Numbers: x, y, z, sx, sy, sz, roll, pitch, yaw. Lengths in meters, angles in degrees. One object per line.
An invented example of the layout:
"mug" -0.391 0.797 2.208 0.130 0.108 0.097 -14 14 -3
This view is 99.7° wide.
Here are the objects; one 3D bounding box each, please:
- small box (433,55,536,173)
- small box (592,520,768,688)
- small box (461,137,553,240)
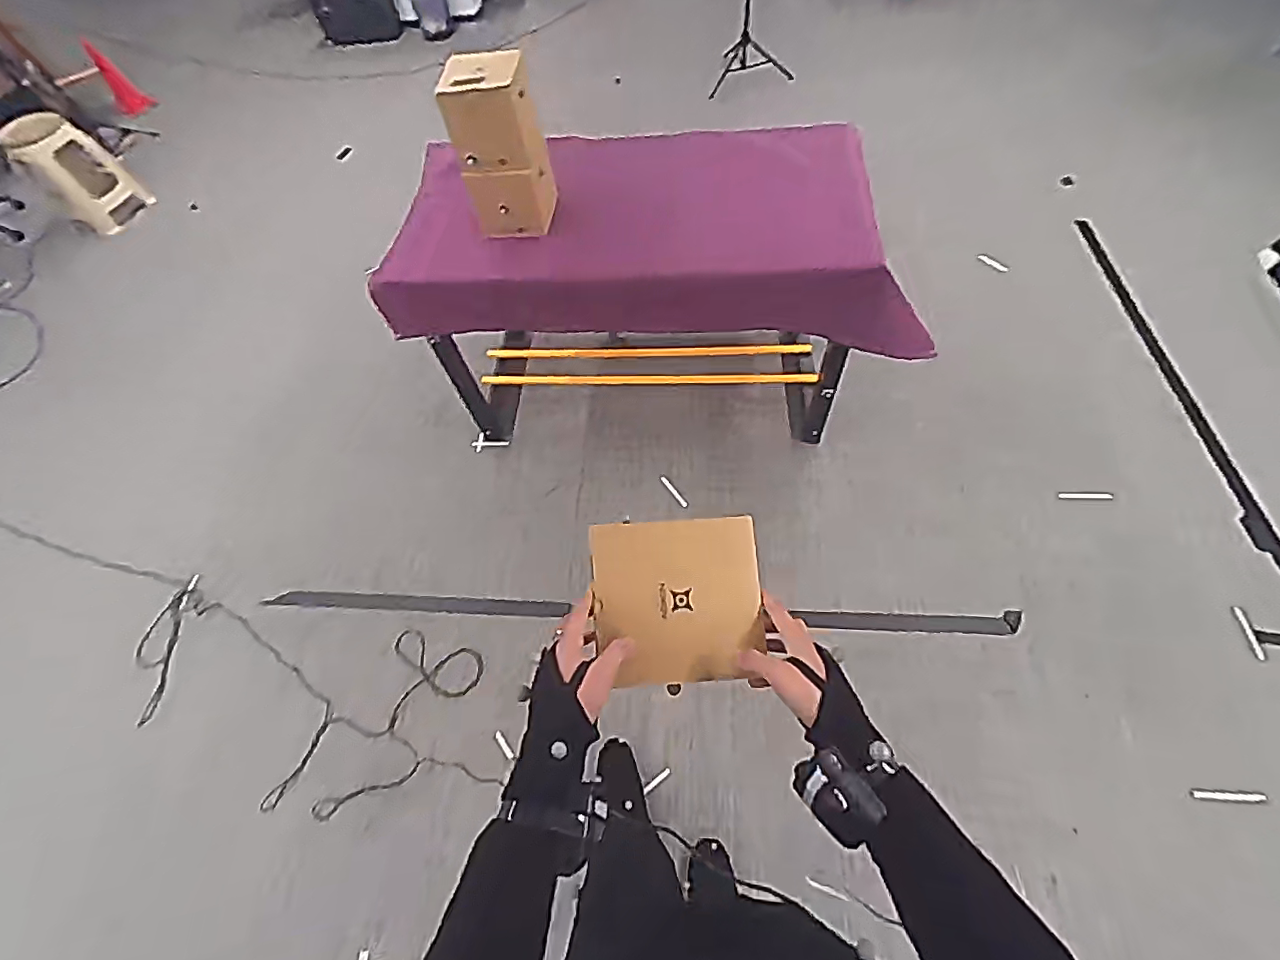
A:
"small box" -0.342 -0.821 1.226 0.168 0.176 0.179 -1 59 5
"small box" 0.040 0.140 0.636 0.179 0.176 0.168 -4 79 0
"small box" -0.325 -0.728 1.361 0.168 0.176 0.179 3 60 7
